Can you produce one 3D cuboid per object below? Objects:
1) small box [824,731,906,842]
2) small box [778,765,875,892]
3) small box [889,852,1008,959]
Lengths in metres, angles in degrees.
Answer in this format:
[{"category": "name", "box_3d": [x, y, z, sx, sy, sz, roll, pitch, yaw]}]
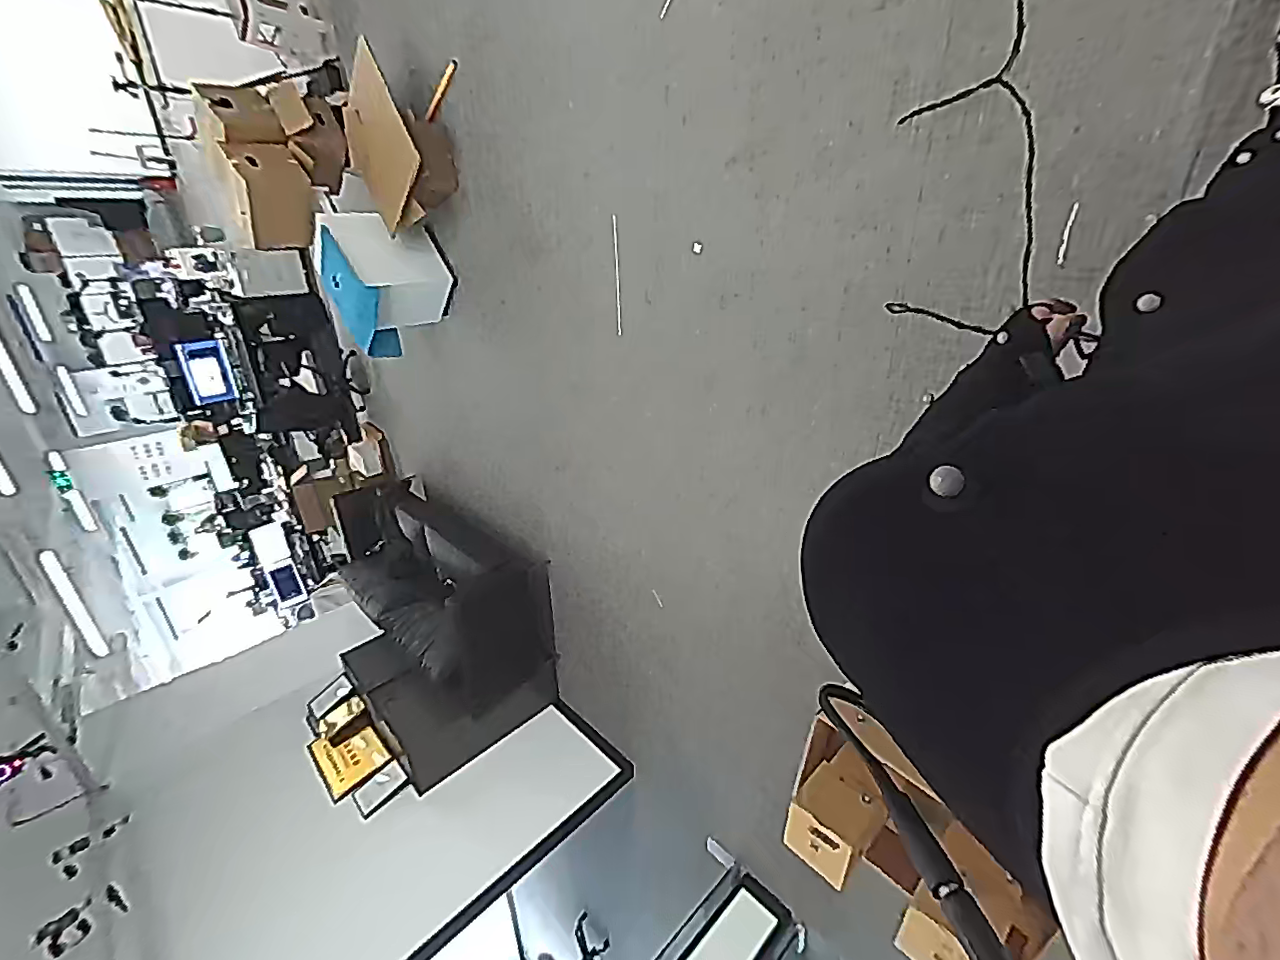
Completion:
[{"category": "small box", "box_3d": [0.602, 0.840, 1.485, 0.168, 0.176, 0.179, 29, 127, 38]}, {"category": "small box", "box_3d": [0.479, 0.880, 1.383, 0.168, 0.176, 0.179, 25, 125, 40]}, {"category": "small box", "box_3d": [0.684, 0.990, 1.199, 0.168, 0.176, 0.179, 25, 125, 39]}]
